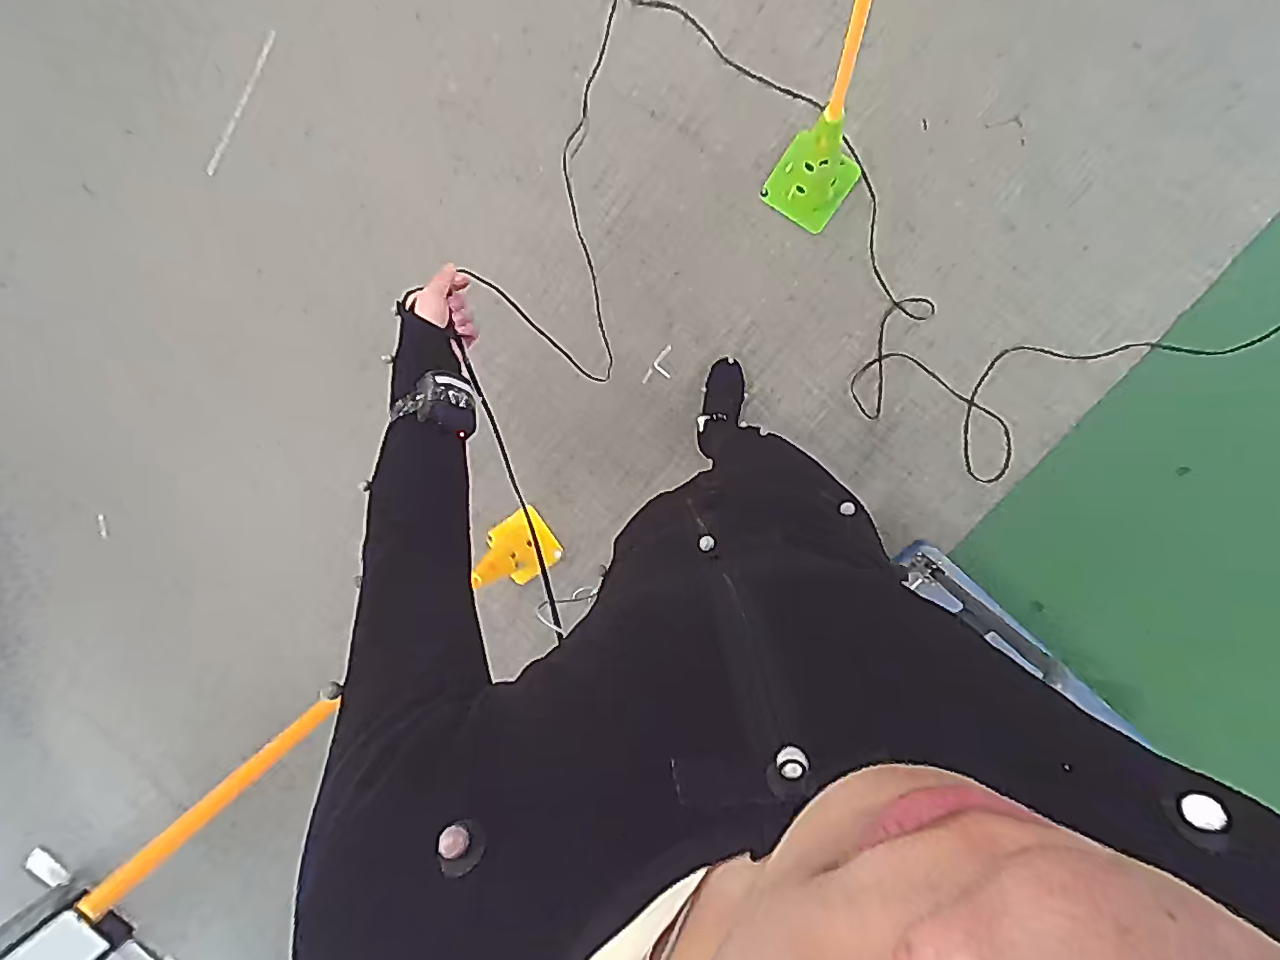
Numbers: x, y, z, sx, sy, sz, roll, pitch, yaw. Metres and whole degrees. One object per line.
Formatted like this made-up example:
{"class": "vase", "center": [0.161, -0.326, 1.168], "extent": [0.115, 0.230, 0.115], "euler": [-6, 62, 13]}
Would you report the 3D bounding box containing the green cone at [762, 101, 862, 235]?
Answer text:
{"class": "green cone", "center": [0.428, -0.761, 1.265], "extent": [0.200, 0.368, 0.202], "euler": [35, 101, 3]}
